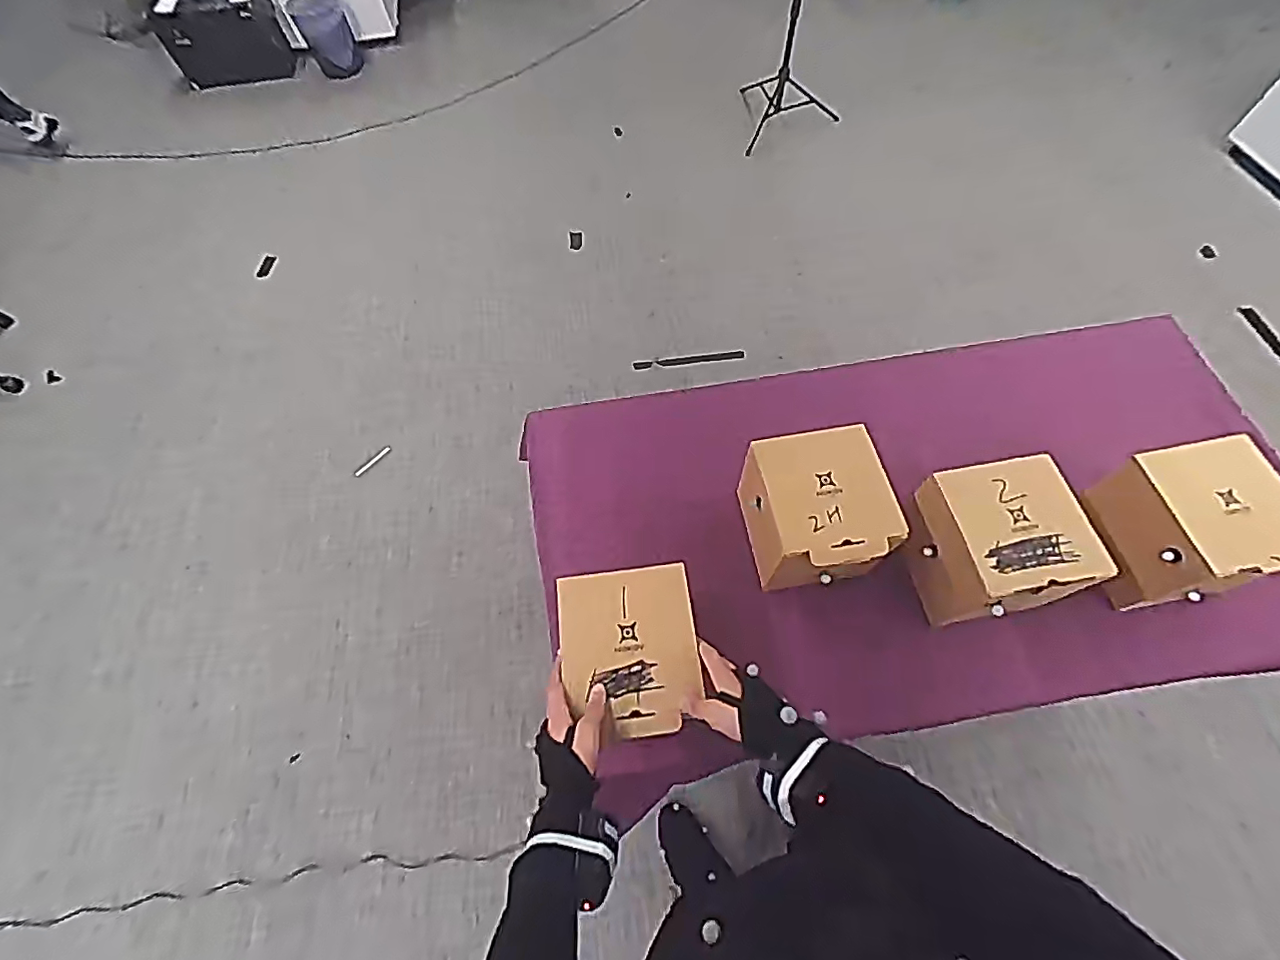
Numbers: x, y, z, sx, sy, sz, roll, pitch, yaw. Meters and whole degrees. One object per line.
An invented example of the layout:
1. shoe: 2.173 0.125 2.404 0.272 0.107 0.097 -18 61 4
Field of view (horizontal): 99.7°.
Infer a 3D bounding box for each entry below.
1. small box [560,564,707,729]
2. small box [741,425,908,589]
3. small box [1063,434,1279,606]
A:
1. small box: -0.008 0.229 0.719 0.168 0.176 0.179 -7 62 -1
2. small box: 0.254 0.045 0.798 0.168 0.176 0.179 -9 63 -1
3. small box: 0.762 0.062 0.765 0.168 0.176 0.179 -11 63 -2
